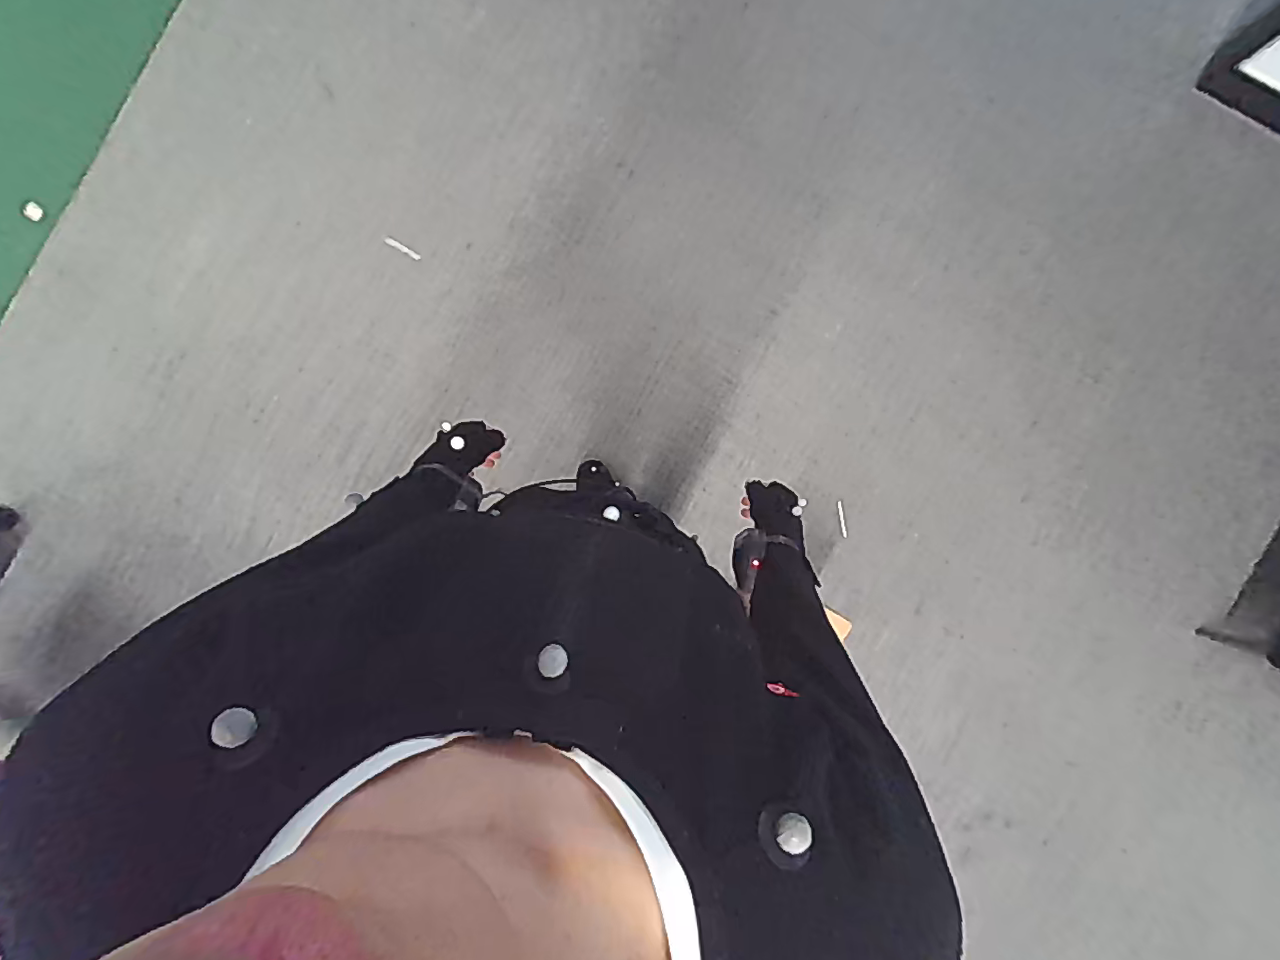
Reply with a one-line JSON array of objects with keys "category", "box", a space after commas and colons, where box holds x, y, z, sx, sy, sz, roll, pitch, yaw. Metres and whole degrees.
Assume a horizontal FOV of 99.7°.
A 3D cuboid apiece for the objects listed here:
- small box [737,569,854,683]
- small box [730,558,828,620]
[{"category": "small box", "box": [0.345, 0.321, 1.232, 0.179, 0.176, 0.168, 30, 91, 0]}, {"category": "small box", "box": [0.348, 0.320, 1.396, 0.168, 0.176, 0.179, 30, 91, 1]}]
